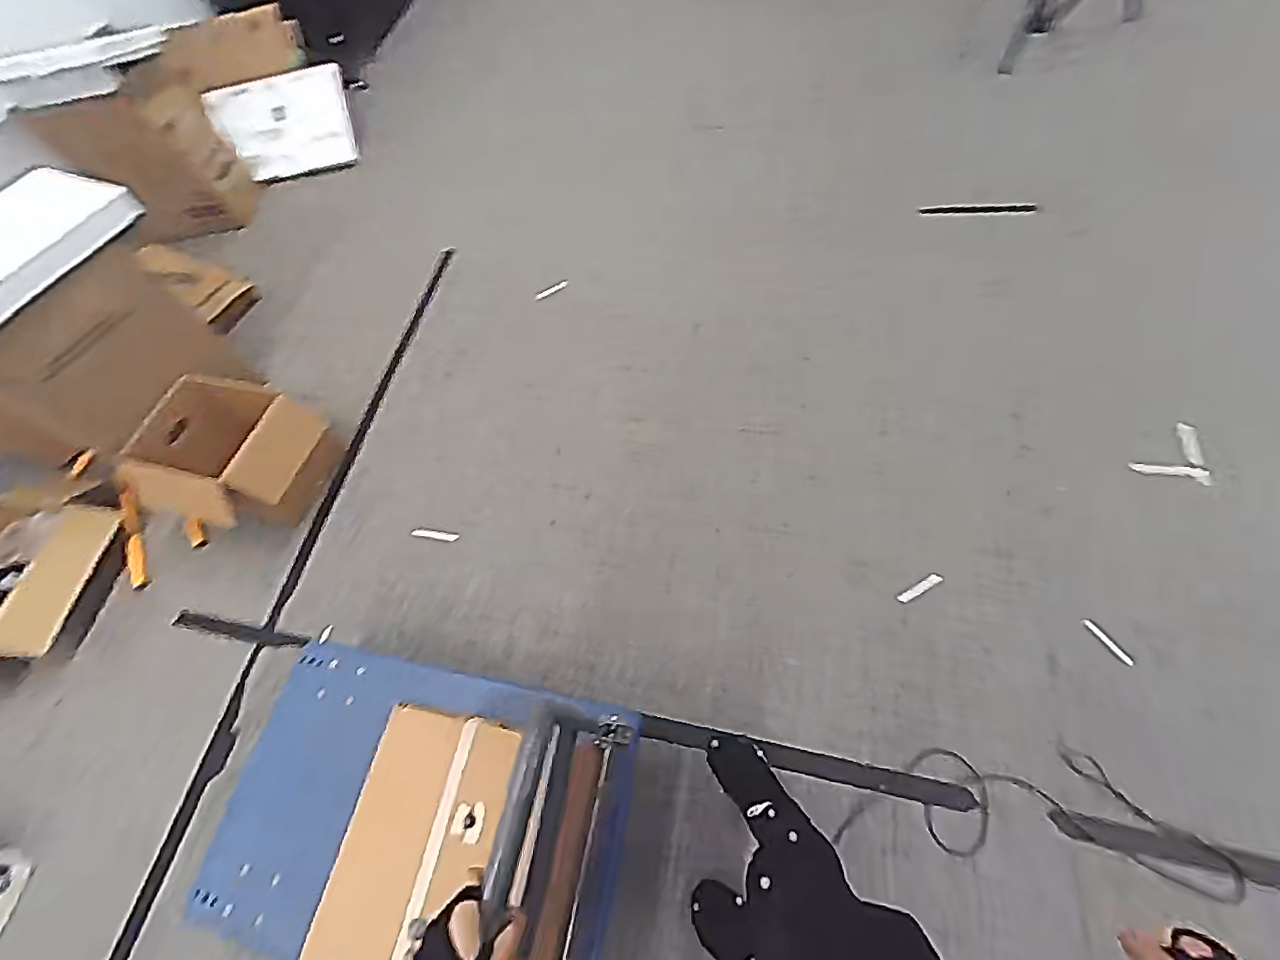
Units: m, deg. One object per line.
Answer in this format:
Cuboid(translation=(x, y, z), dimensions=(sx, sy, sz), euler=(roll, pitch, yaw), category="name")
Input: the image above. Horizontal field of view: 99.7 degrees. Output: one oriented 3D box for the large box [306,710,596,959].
Cuboid(translation=(-0.295, 0.664, 0.959), dimensions=(0.320, 0.320, 0.408), euler=(6, 63, 13), category="large box")
